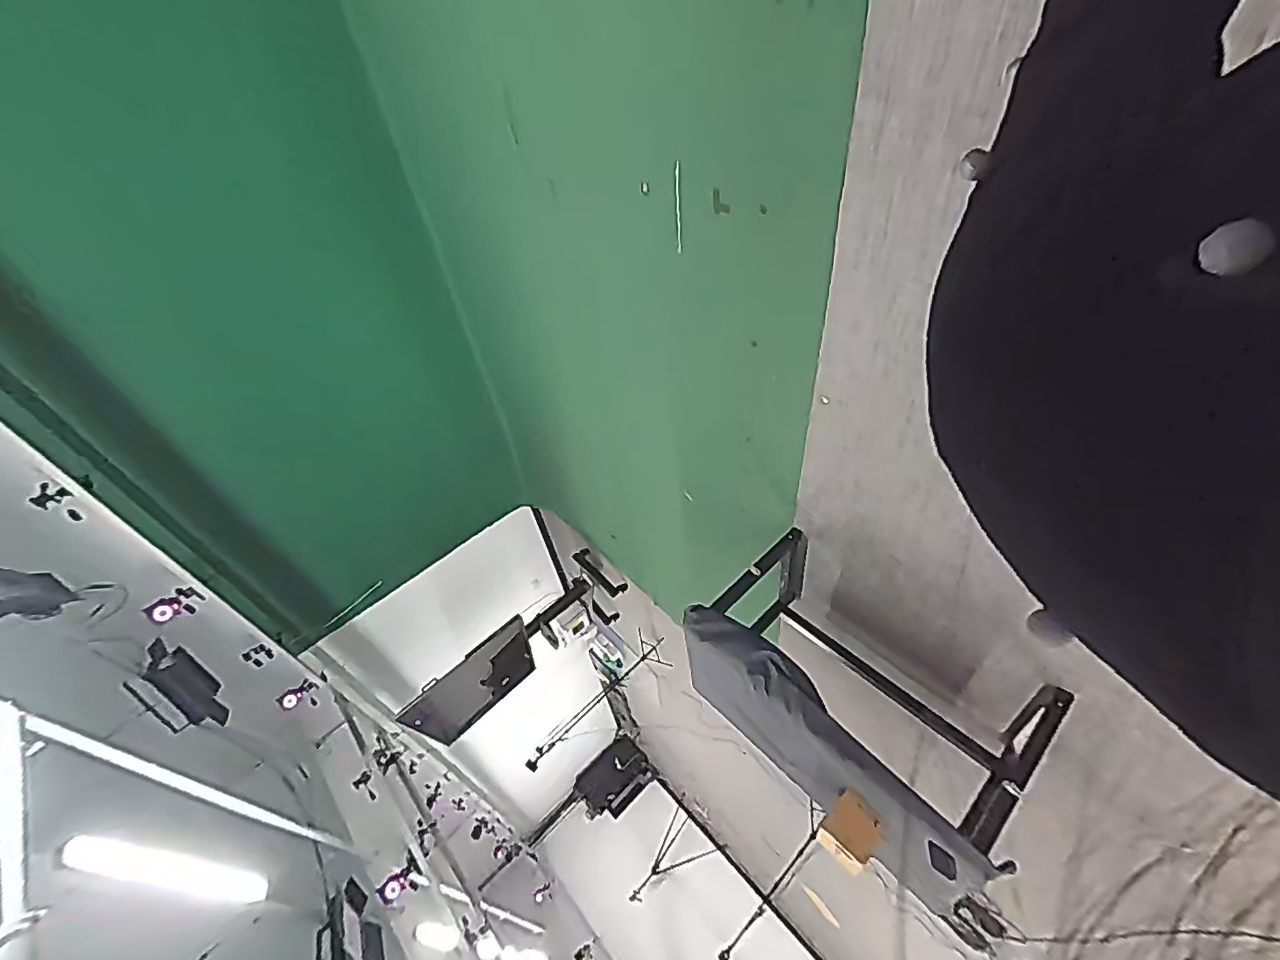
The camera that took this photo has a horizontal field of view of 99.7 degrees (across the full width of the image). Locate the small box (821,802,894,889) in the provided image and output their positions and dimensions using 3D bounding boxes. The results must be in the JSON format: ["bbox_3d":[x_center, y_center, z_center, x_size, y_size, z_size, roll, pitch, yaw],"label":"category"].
[{"bbox_3d":[0.751,1.258,1.868,0.168,0.176,0.179,34,149,37],"label":"small box"}]
